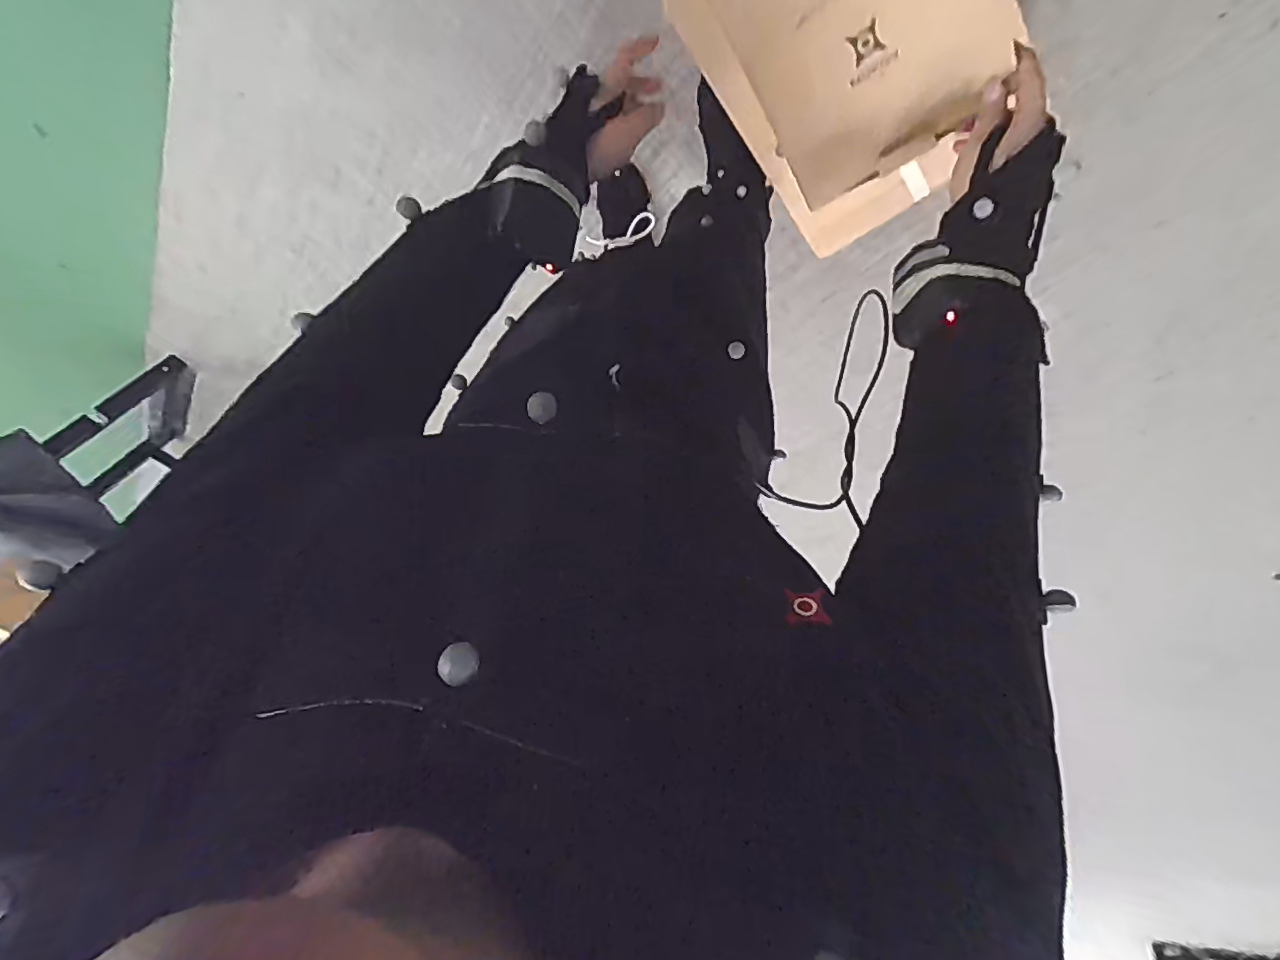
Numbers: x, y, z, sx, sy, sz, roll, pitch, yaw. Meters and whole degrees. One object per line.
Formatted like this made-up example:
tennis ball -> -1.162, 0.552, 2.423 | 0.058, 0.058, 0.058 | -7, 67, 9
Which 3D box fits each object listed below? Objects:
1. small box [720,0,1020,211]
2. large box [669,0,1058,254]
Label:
small box -> 0.188, -0.376, 0.456 | 0.168, 0.176, 0.179 | -21, 126, 33
large box -> 0.303, -0.626, 0.761 | 0.320, 0.320, 0.408 | -24, 125, 38
